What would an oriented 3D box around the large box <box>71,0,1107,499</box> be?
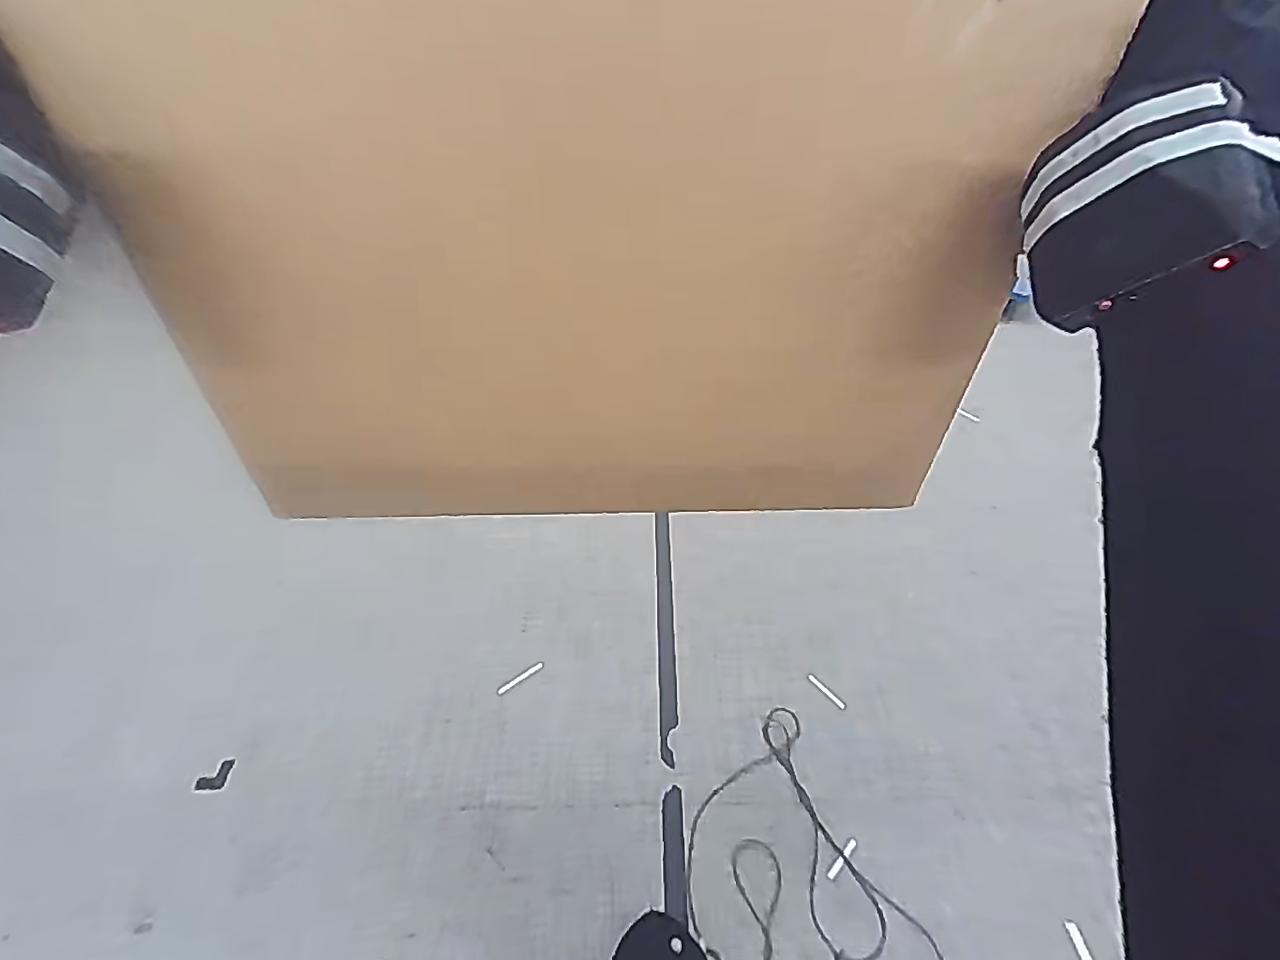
[{"bbox_3d":[-0.024,-0.200,0.377,0.408,0.320,0.320,0,40,-4],"label":"large box"}]
